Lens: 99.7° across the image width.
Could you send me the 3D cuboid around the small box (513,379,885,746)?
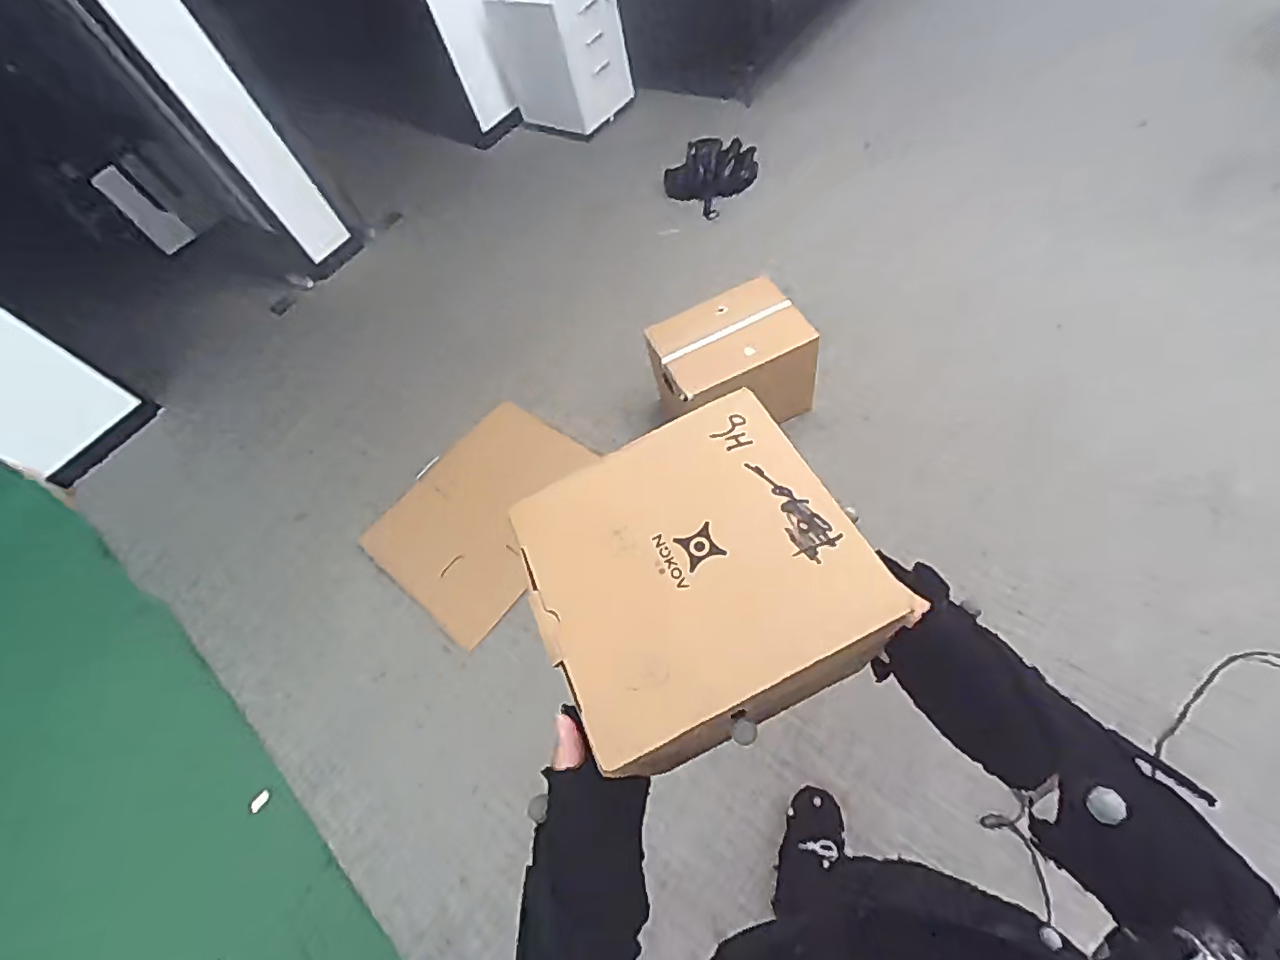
[{"bbox_3d":[0.041,0.069,0.389,0.179,0.176,0.168,-29,58,-4],"label":"small box"}]
